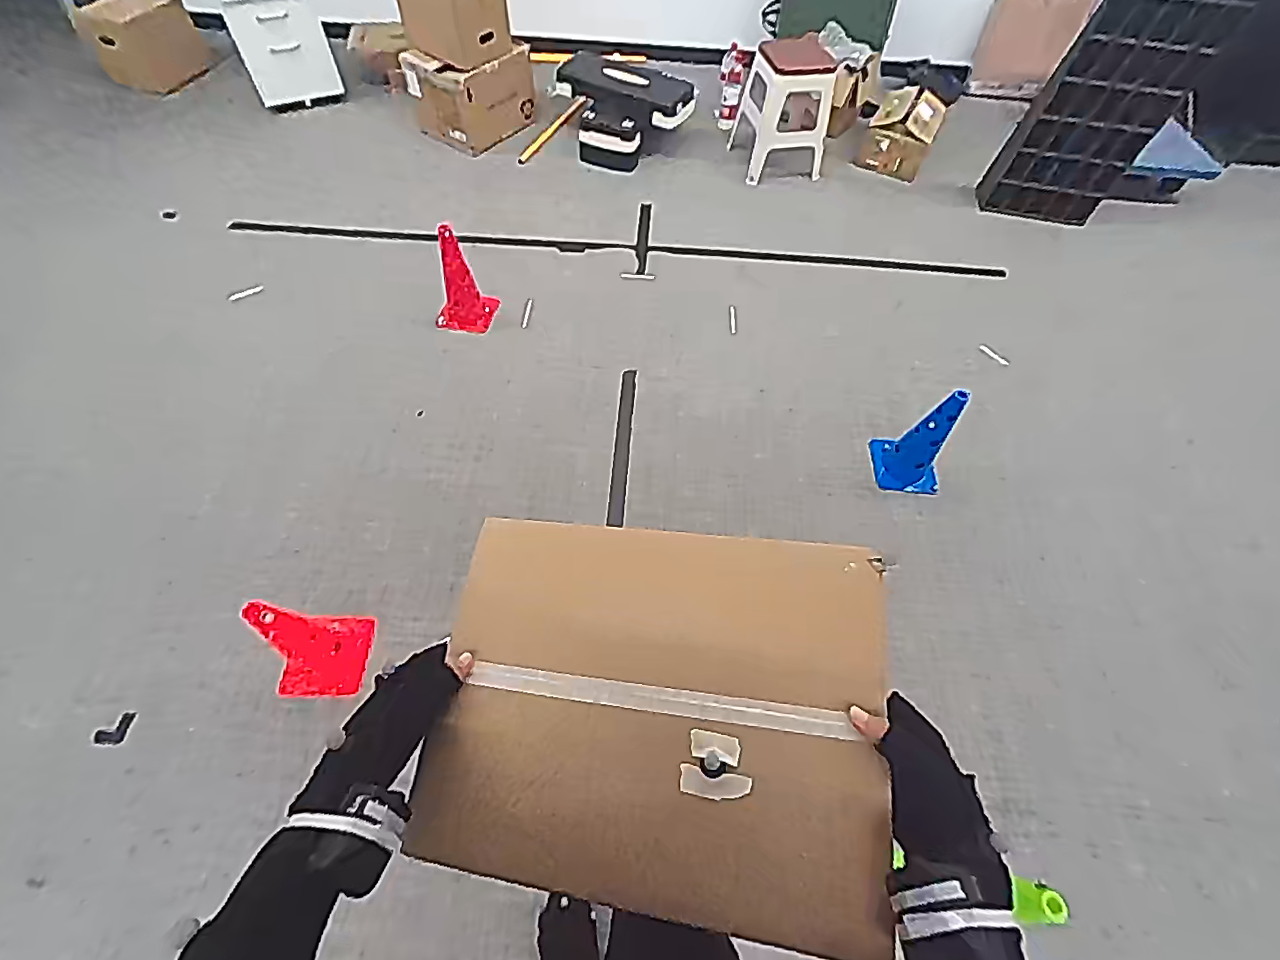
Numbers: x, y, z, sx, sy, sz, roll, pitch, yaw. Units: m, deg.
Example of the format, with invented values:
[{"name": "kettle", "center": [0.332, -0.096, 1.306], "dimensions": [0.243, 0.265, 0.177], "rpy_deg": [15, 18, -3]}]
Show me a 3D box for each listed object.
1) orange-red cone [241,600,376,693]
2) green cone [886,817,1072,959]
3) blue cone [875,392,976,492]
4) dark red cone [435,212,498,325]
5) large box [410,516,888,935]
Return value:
[{"name": "orange-red cone", "center": [-0.785, 0.352, 1.233], "dimensions": [0.198, 0.360, 0.199], "rpy_deg": [1, 59, -1]}, {"name": "green cone", "center": [0.675, 0.792, 1.032], "dimensions": [0.202, 0.368, 0.200], "rpy_deg": [-28, 64, -21]}, {"name": "blue cone", "center": [0.887, -0.133, 1.648], "dimensions": [0.192, 0.380, 0.193], "rpy_deg": [7, 58, 0]}, {"name": "dark red cone", "center": [-0.643, -0.751, 1.908], "dimensions": [0.201, 0.394, 0.202], "rpy_deg": [10, 58, 2]}, {"name": "large box", "center": [0.032, 0.251, 0.629], "dimensions": [0.408, 0.320, 0.320], "rpy_deg": [4, 66, 12]}]
